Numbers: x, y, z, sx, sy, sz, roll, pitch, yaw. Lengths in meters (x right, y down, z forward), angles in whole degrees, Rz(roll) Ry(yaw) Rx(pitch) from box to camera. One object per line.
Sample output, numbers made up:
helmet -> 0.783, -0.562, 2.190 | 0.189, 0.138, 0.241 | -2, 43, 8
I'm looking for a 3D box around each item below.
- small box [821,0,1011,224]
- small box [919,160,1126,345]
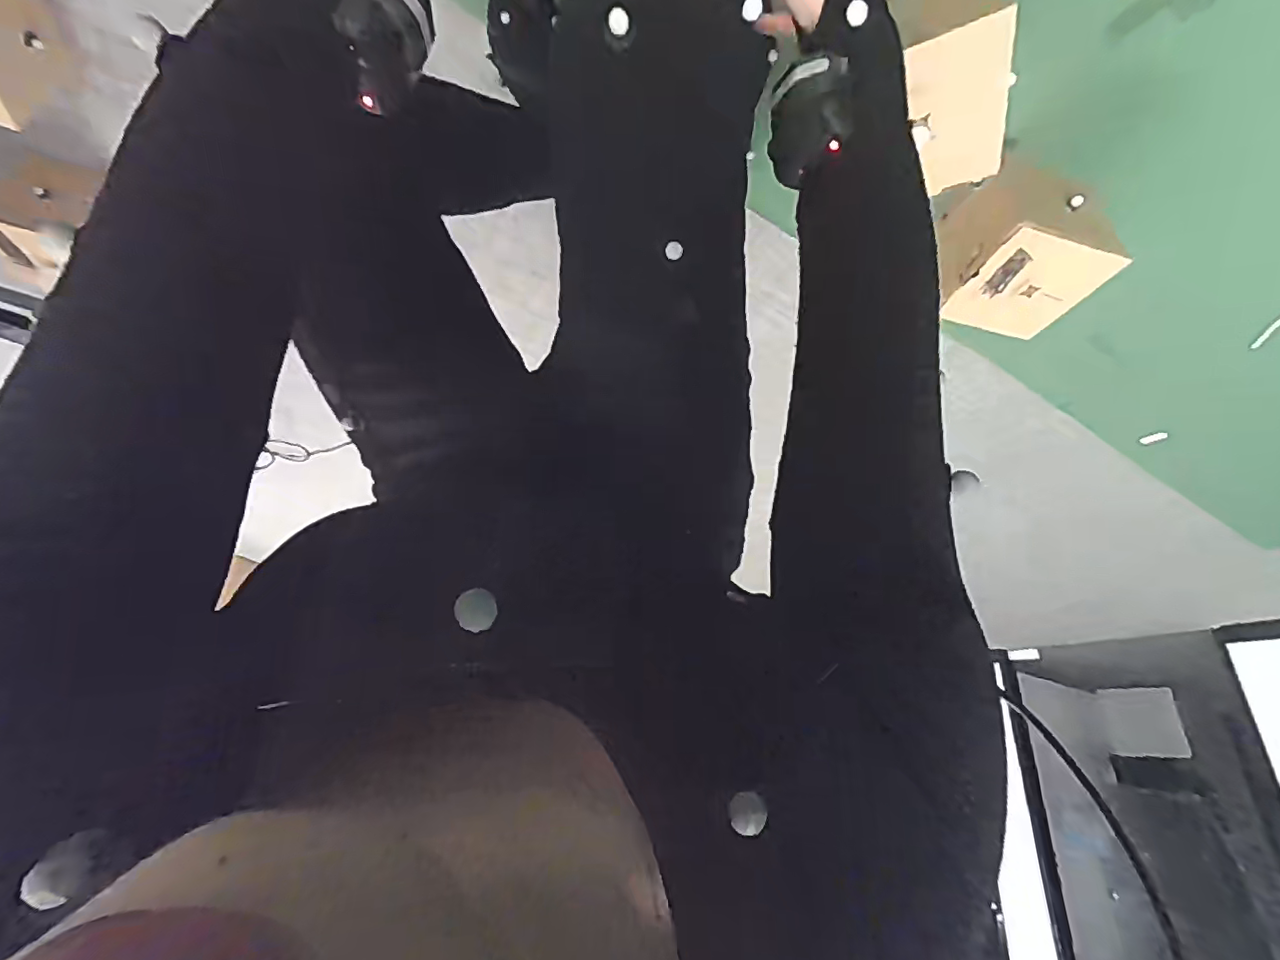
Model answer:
small box -> 0.313, -0.448, 0.635 | 0.168, 0.176, 0.179 | -8, 149, 24
small box -> 0.546, -0.335, 0.801 | 0.179, 0.176, 0.168 | 11, 153, -10
